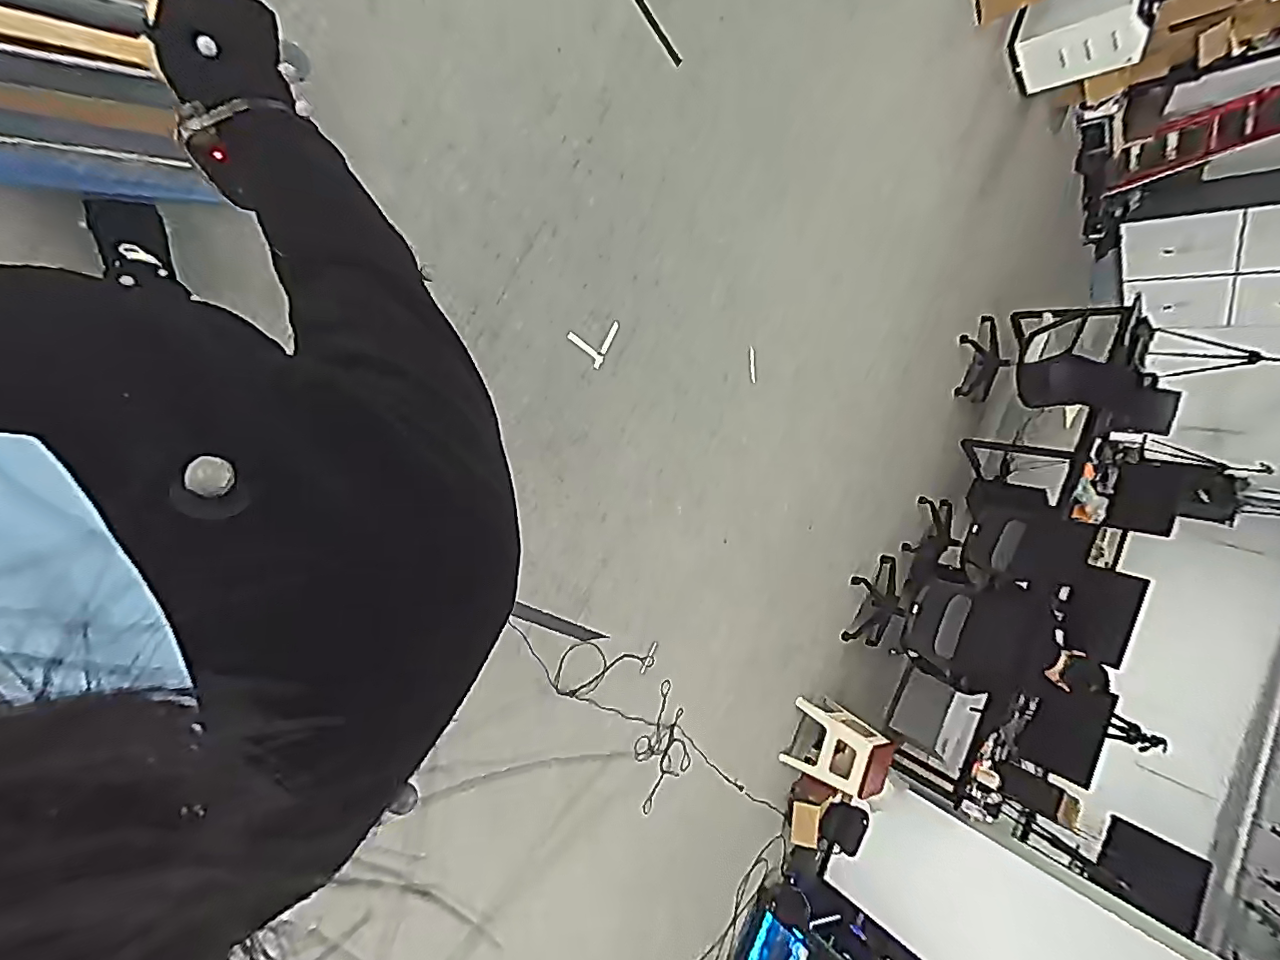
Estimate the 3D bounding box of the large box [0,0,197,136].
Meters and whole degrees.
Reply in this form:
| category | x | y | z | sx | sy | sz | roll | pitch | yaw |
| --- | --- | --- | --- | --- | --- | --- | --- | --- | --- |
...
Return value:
| category | x | y | z | sx | sy | sz | roll | pitch | yaw |
| --- | --- | --- | --- | --- | --- | --- | --- | --- | --- |
| large box | -0.854 | -0.681 | 0.676 | 0.408 | 0.320 | 0.320 | -14 | 111 | -40 |
